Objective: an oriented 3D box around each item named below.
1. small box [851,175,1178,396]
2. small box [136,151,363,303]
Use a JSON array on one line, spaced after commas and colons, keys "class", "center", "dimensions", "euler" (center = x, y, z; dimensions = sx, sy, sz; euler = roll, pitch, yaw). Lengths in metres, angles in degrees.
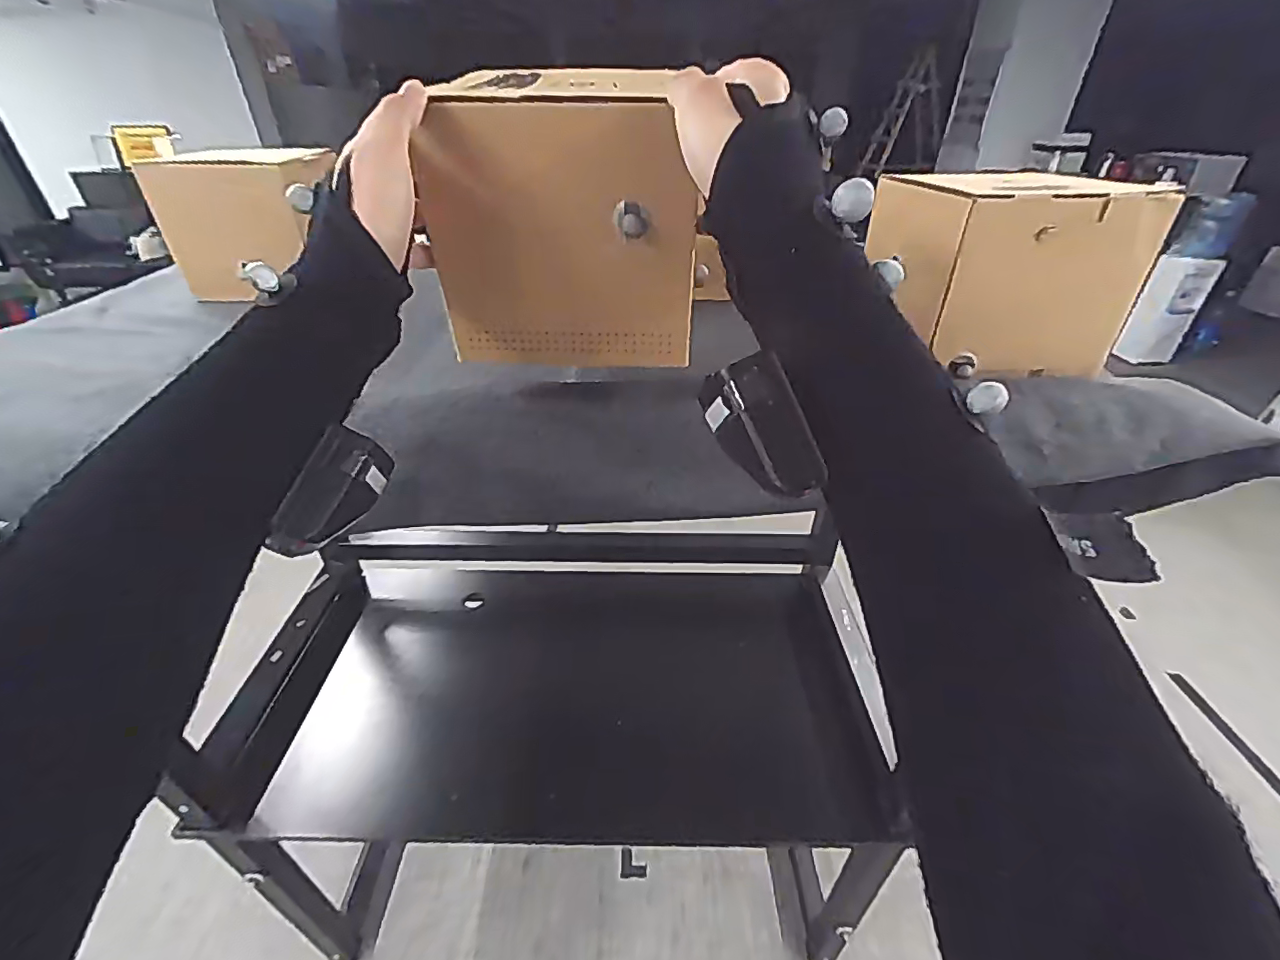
[{"class": "small box", "center": [0.326, -0.187, 0.519], "dimensions": [0.168, 0.176, 0.179], "euler": [-2, 33, -2]}, {"class": "small box", "center": [-0.518, -0.353, 0.756], "dimensions": [0.179, 0.176, 0.168], "euler": [0, 35, -2]}]
